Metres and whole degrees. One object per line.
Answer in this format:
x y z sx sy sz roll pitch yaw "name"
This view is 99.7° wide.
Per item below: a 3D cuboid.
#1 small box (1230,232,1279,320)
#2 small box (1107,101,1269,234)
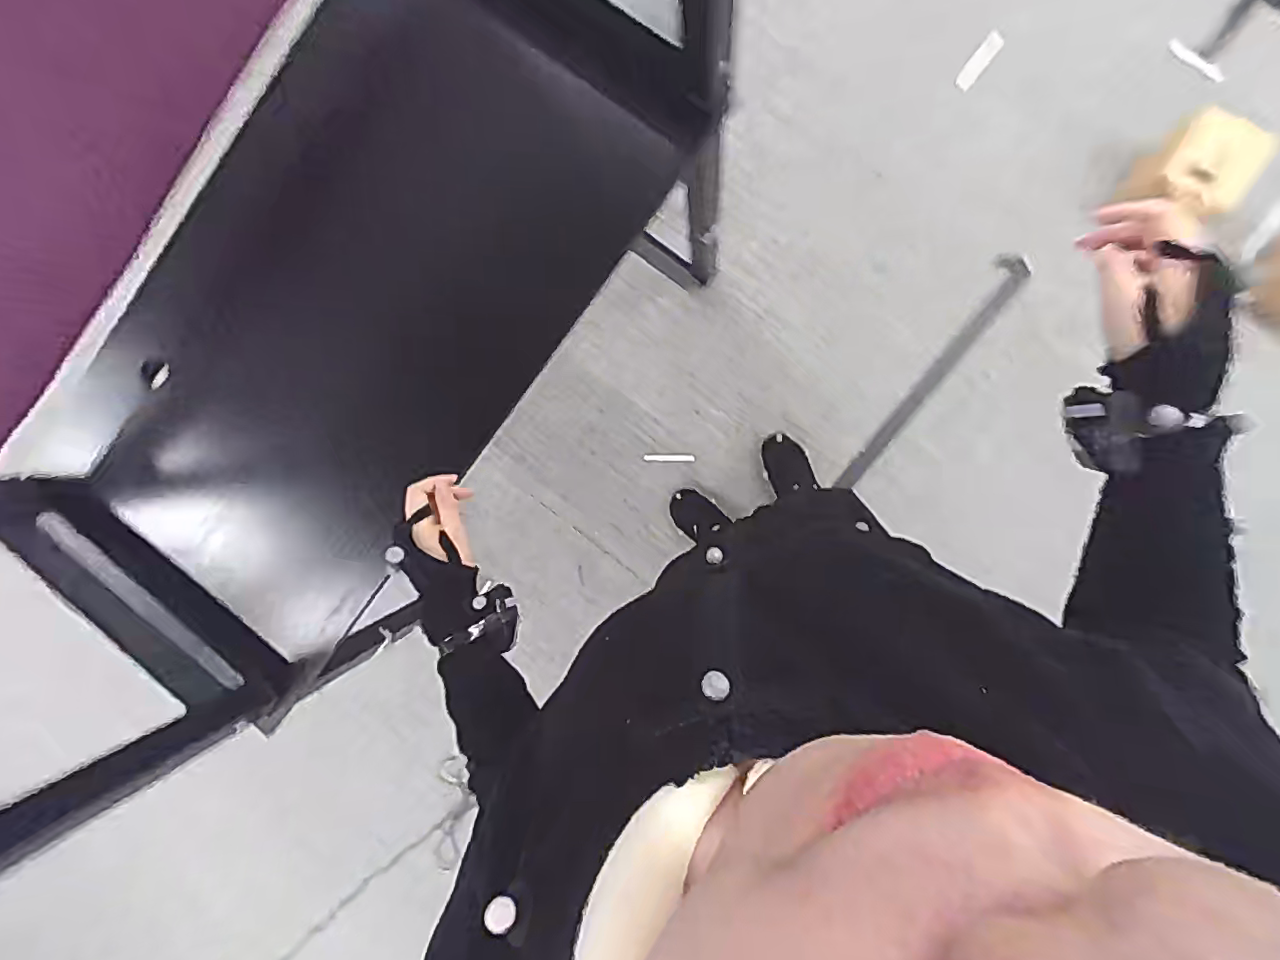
1.545 -0.484 1.231 0.179 0.176 0.168 40 96 3 "small box"
1.244 -0.707 1.248 0.168 0.176 0.179 32 95 3 "small box"
